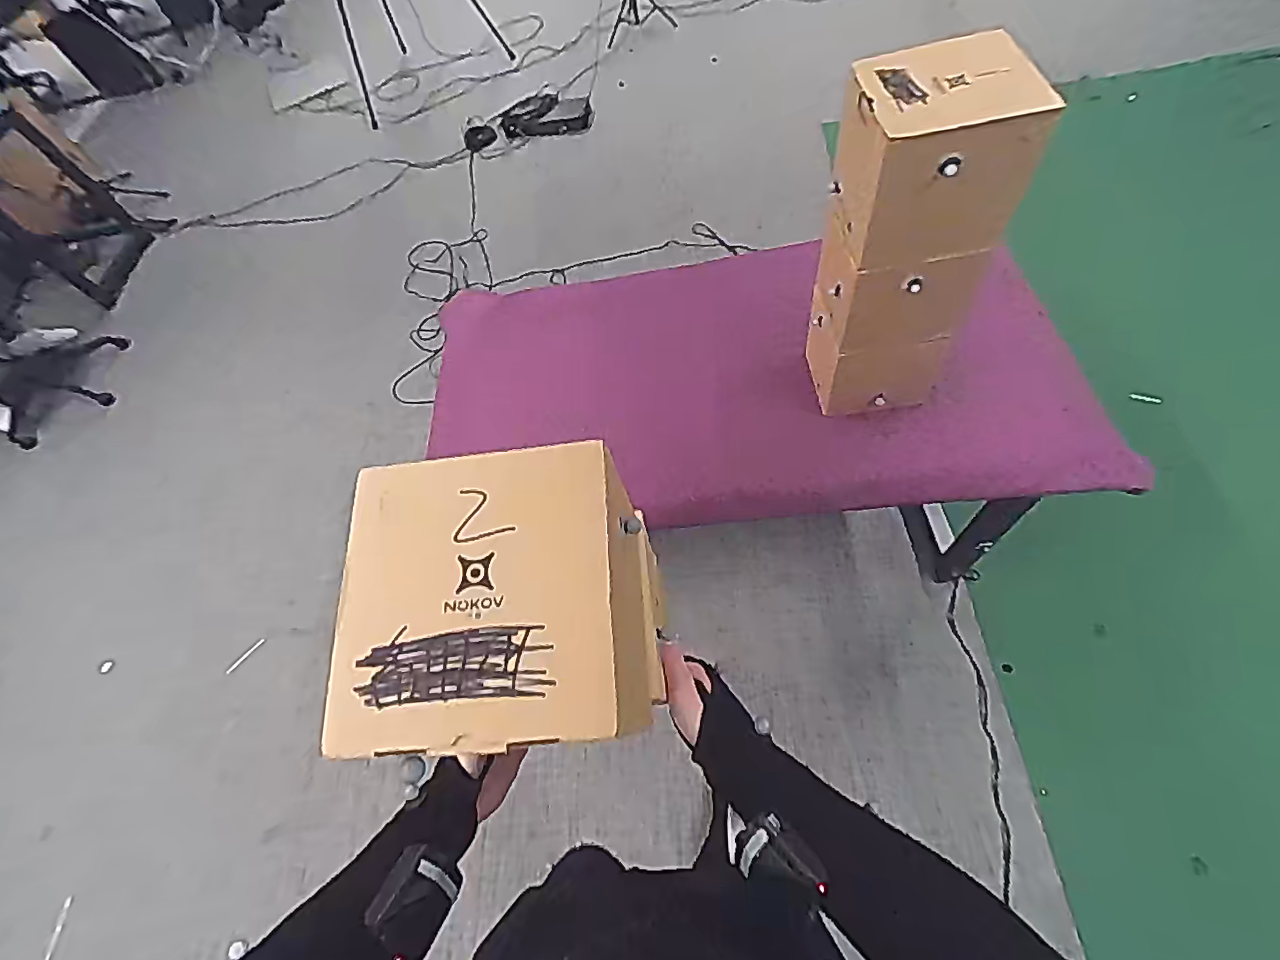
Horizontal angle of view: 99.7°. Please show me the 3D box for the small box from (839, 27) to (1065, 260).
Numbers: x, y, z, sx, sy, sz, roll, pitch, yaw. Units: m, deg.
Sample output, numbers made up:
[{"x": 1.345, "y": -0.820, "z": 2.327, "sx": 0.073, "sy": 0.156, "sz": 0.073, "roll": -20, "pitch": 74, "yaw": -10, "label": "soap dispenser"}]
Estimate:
[{"x": 0.350, "y": -0.394, "z": 0.655, "sx": 0.179, "sy": 0.176, "sz": 0.168, "roll": -7, "pitch": 62, "yaw": 7, "label": "small box"}]

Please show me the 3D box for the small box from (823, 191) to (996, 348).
[{"x": 0.375, "y": -0.315, "z": 0.797, "sx": 0.179, "sy": 0.176, "sz": 0.168, "roll": -7, "pitch": 61, "yaw": 8, "label": "small box"}]

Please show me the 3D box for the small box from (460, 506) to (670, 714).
[{"x": -0.065, "y": 0.138, "z": 0.550, "sx": 0.179, "sy": 0.176, "sz": 0.168, "roll": -8, "pitch": 68, "yaw": 4, "label": "small box"}]

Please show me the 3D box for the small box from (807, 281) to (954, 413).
[{"x": 0.401, "y": -0.236, "z": 0.937, "sx": 0.179, "sy": 0.176, "sz": 0.168, "roll": -8, "pitch": 60, "yaw": 7, "label": "small box"}]
